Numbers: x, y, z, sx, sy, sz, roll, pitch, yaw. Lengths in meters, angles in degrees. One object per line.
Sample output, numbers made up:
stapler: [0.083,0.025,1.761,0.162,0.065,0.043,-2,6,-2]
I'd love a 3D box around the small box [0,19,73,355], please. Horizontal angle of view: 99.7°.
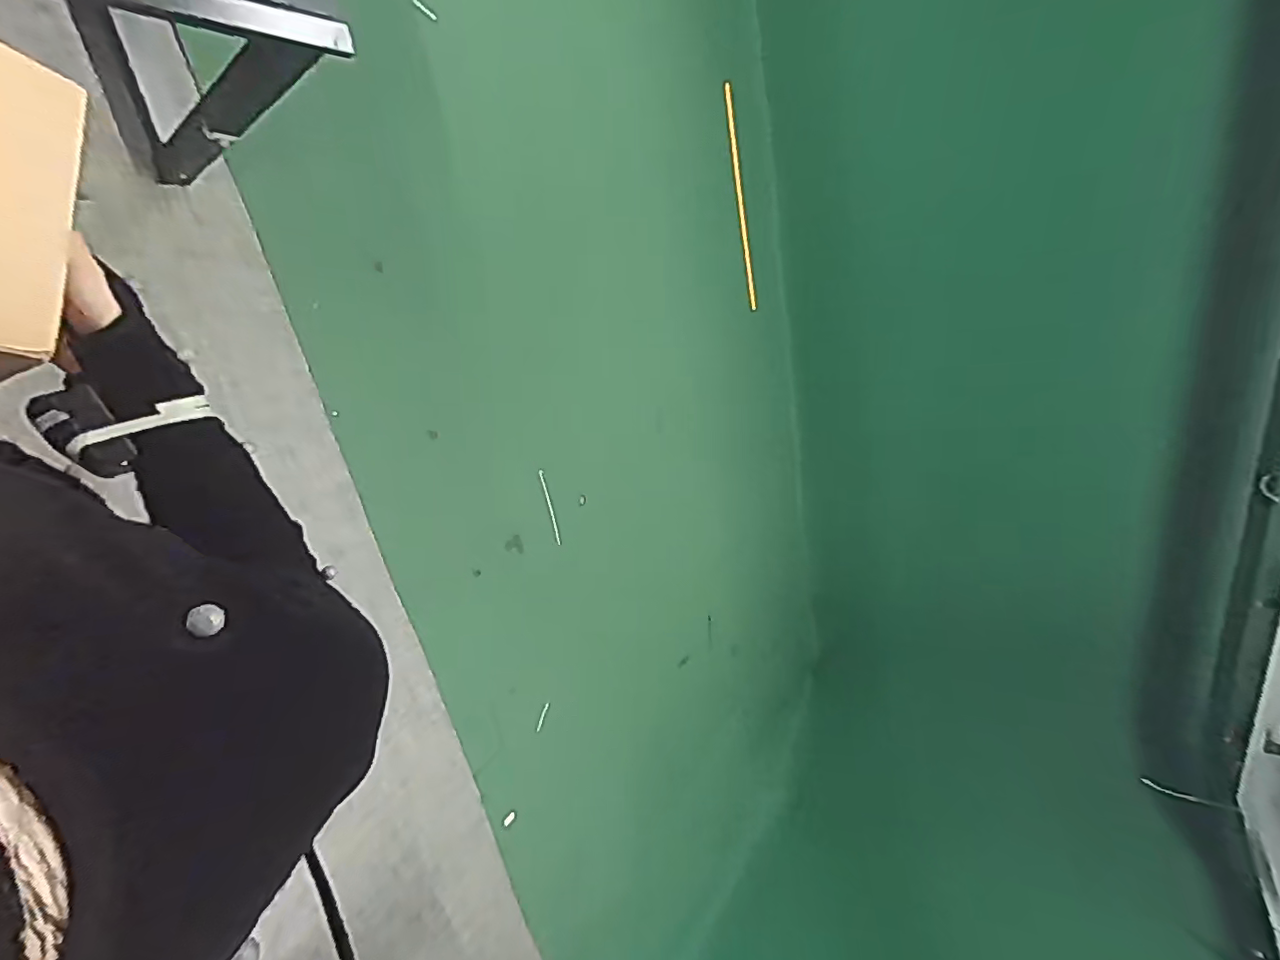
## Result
small box: [-0.441,-0.165,0.272,0.168,0.176,0.179,13,75,-61]
